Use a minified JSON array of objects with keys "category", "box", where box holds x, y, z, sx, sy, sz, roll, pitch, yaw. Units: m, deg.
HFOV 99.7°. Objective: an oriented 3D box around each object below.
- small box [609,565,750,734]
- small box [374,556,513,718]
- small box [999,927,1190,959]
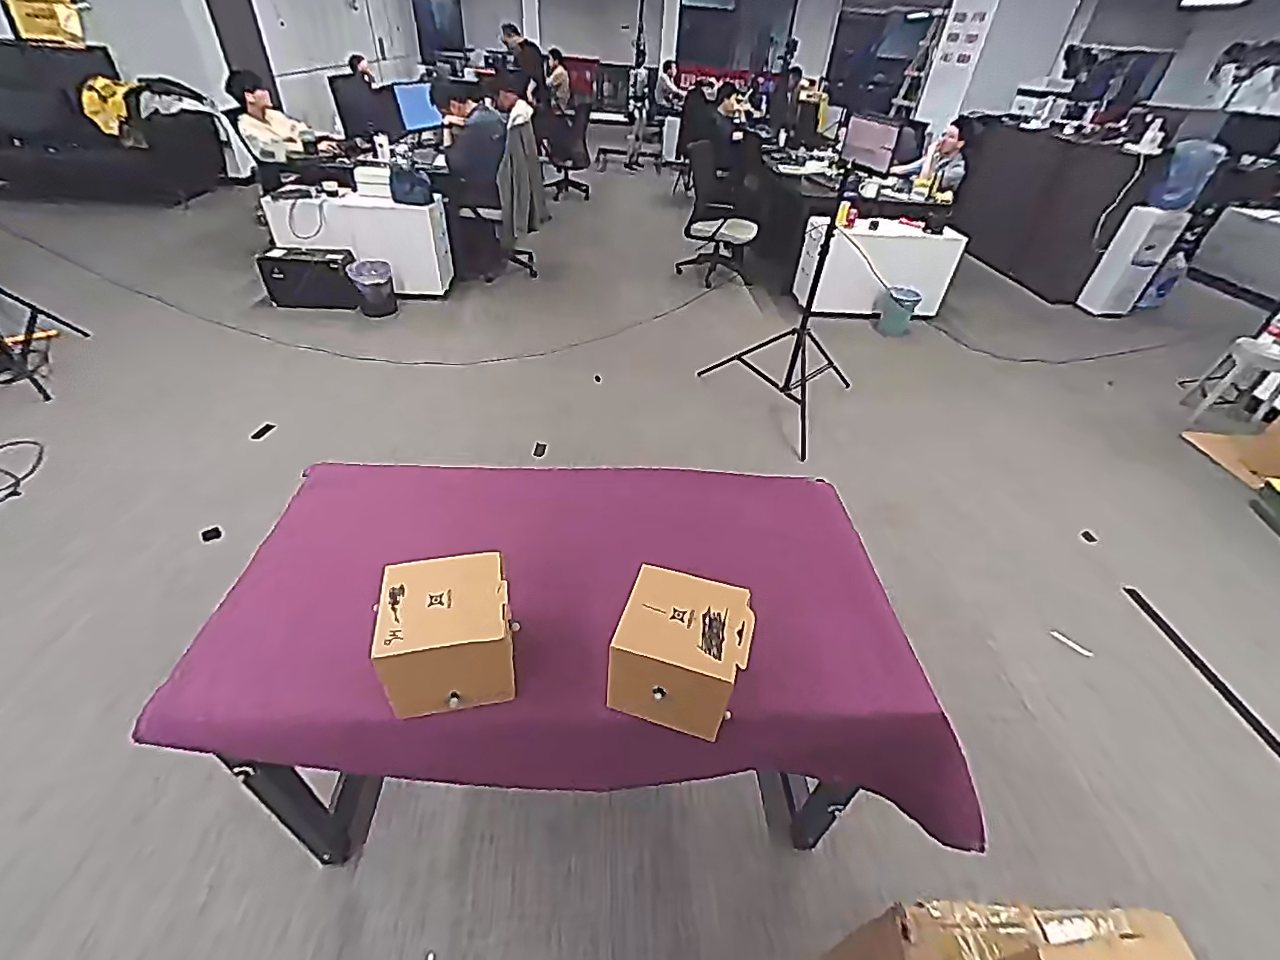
[{"category":"small box","box":[0.060,0.266,0.843,0.179,0.176,0.168,13,39,12]},{"category":"small box","box":[-0.290,0.241,0.839,0.179,0.176,0.168,-5,39,-13]},{"category":"small box","box":[0.530,0.633,0.601,0.168,0.176,0.179,-2,41,-4]}]
